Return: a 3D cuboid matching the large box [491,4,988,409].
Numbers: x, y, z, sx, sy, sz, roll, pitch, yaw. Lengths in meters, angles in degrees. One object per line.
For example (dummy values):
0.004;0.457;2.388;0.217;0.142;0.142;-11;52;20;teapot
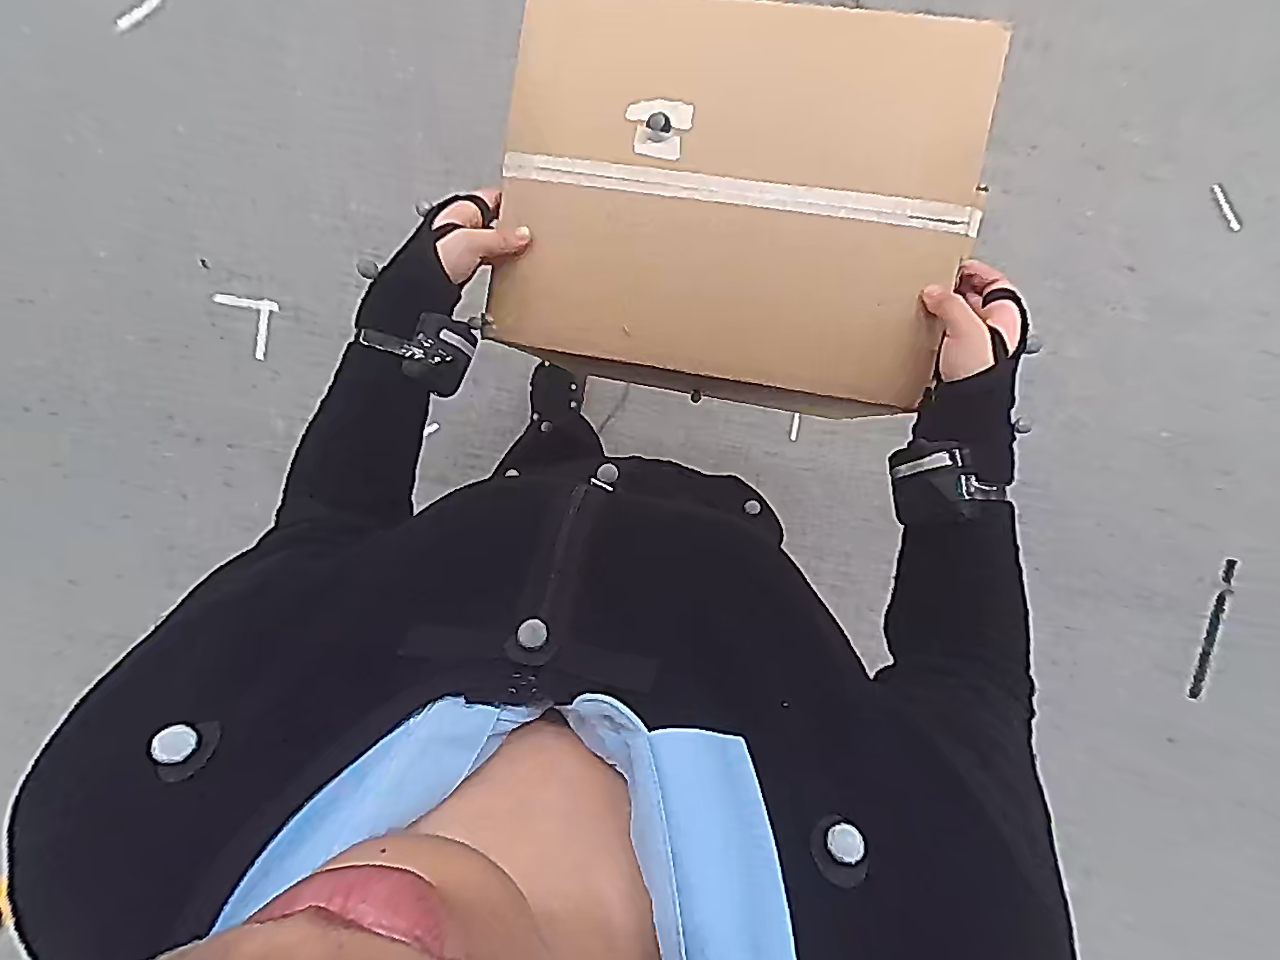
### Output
0.094;-0.266;0.629;0.408;0.320;0.320;11;95;8;large box
